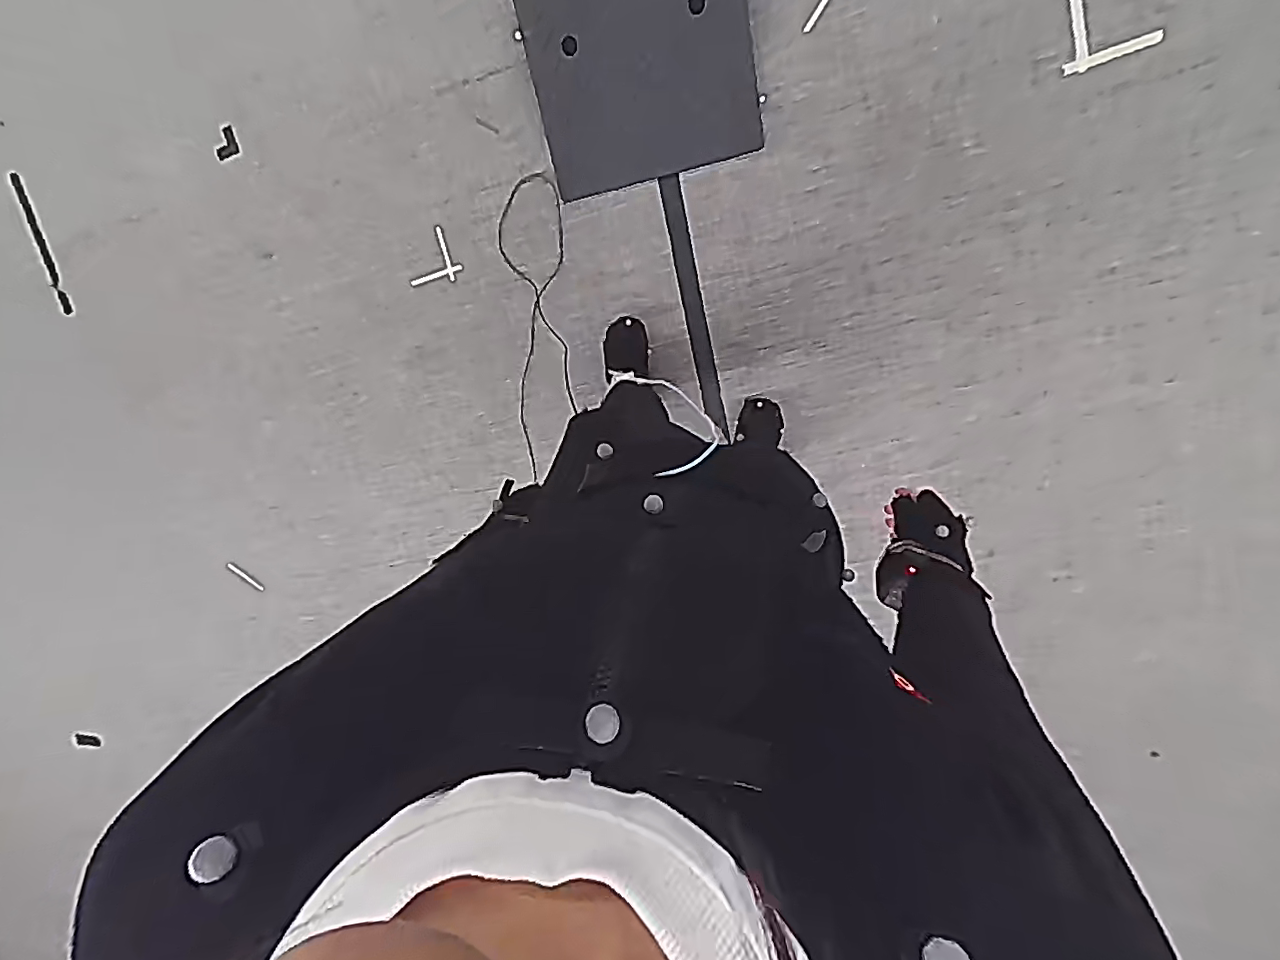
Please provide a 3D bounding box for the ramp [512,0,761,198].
[{"bbox_3d":[-0.065,-1.175,1.092,0.509,0.206,0.991,-11,102,12],"label":"ramp"}]
